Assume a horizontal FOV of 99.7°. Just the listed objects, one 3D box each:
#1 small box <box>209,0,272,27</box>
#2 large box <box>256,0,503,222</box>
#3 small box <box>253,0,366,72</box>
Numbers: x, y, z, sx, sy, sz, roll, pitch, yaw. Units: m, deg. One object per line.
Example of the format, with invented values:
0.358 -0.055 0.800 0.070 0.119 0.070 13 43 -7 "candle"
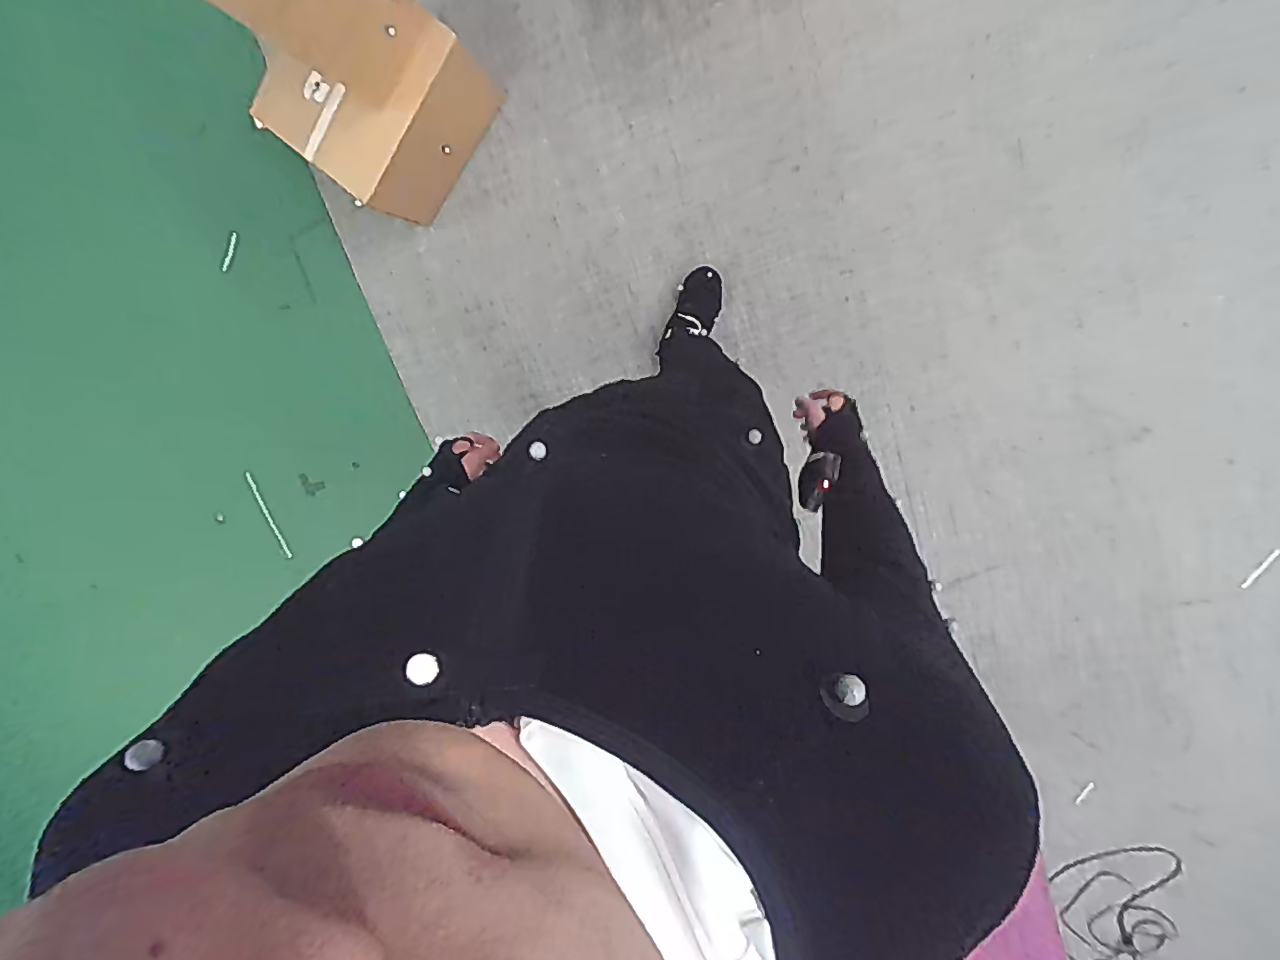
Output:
-0.597 -0.780 0.723 0.168 0.176 0.179 43 105 -7 "small box"
-0.597 -0.906 1.289 0.320 0.320 0.408 38 108 -5 "large box"
-0.585 -0.830 0.879 0.168 0.176 0.179 43 106 -7 "small box"
